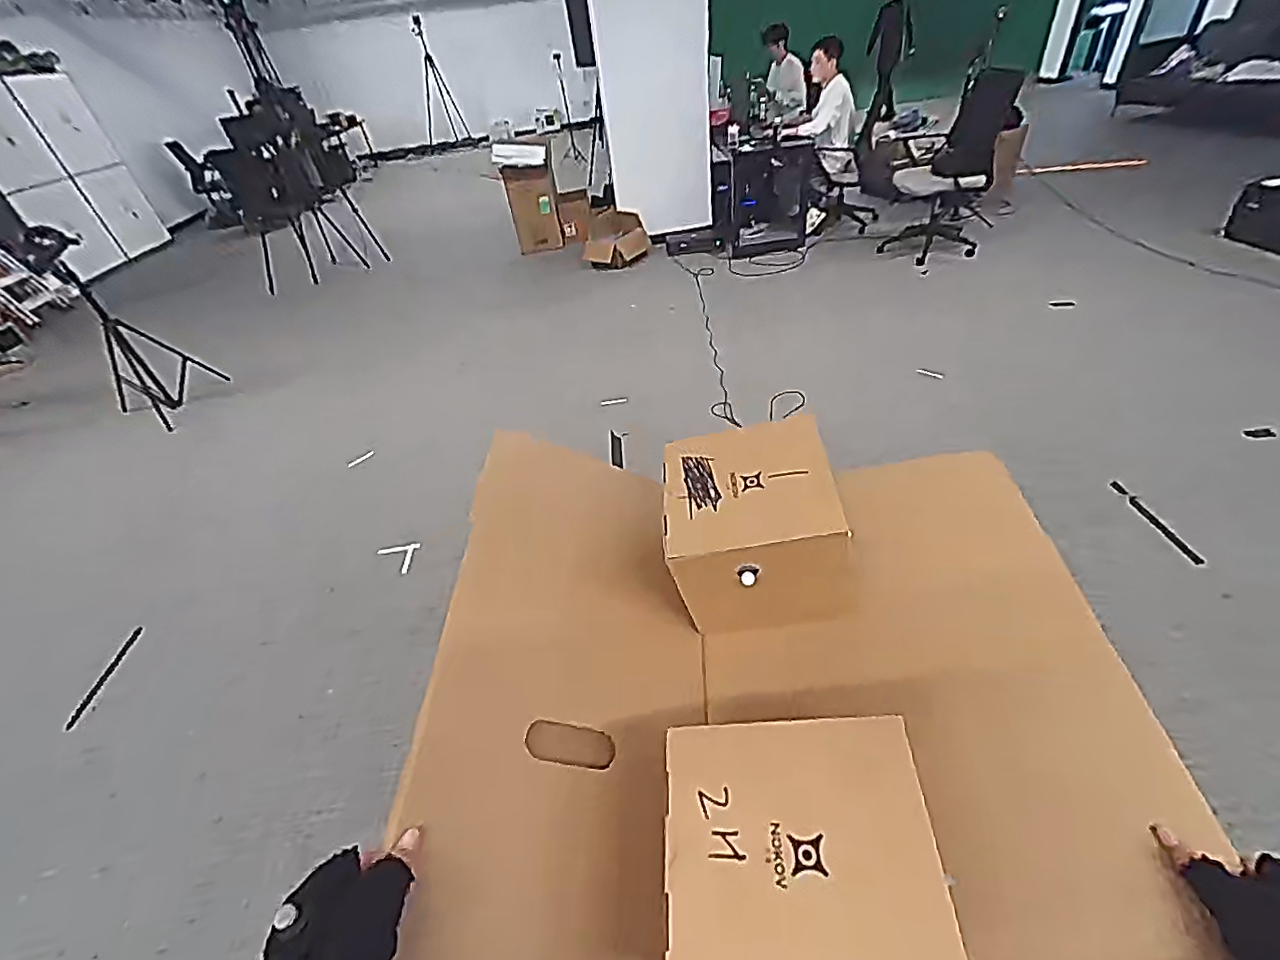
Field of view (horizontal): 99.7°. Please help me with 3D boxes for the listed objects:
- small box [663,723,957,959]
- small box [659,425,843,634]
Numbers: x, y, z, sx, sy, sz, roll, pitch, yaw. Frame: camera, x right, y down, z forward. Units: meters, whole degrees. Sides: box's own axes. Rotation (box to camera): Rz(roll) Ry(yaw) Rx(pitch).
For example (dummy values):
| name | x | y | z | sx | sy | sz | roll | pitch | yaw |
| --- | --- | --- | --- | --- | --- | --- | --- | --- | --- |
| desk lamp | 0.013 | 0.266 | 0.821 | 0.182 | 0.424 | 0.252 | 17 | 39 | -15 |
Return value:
| name | x | y | z | sx | sy | sz | roll | pitch | yaw |
| --- | --- | --- | --- | --- | --- | --- | --- | --- | --- |
| small box | 0.123 | 0.302 | 0.418 | 0.179 | 0.176 | 0.168 | -10 | 46 | 14 |
| small box | 0.129 | 0.066 | 0.634 | 0.179 | 0.176 | 0.168 | -11 | 46 | 12 |
